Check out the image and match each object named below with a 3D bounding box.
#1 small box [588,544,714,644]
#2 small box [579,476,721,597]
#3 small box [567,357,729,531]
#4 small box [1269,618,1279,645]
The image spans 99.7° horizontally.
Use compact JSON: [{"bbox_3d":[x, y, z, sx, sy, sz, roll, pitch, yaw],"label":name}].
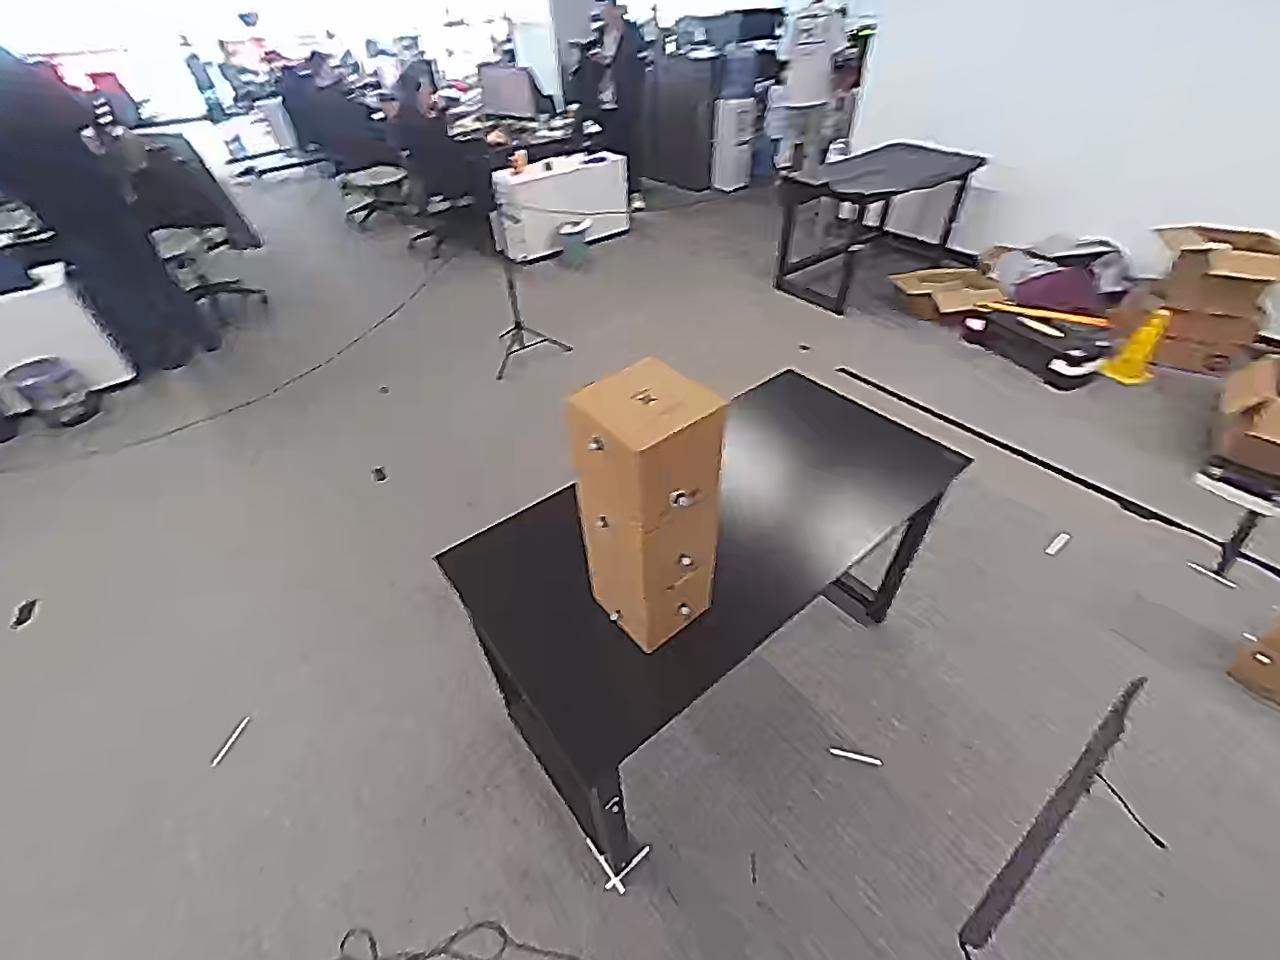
[{"bbox_3d":[0.022,0.188,1.038,0.168,0.176,0.179,-31,50,-28],"label":"small box"},{"bbox_3d":[0.016,0.065,0.928,0.168,0.176,0.179,-31,50,-27],"label":"small box"},{"bbox_3d":[0.012,-0.056,0.819,0.168,0.176,0.179,-31,50,-27],"label":"small box"},{"bbox_3d":[1.961,0.422,1.524,0.168,0.176,0.179,-29,50,-26],"label":"small box"}]
